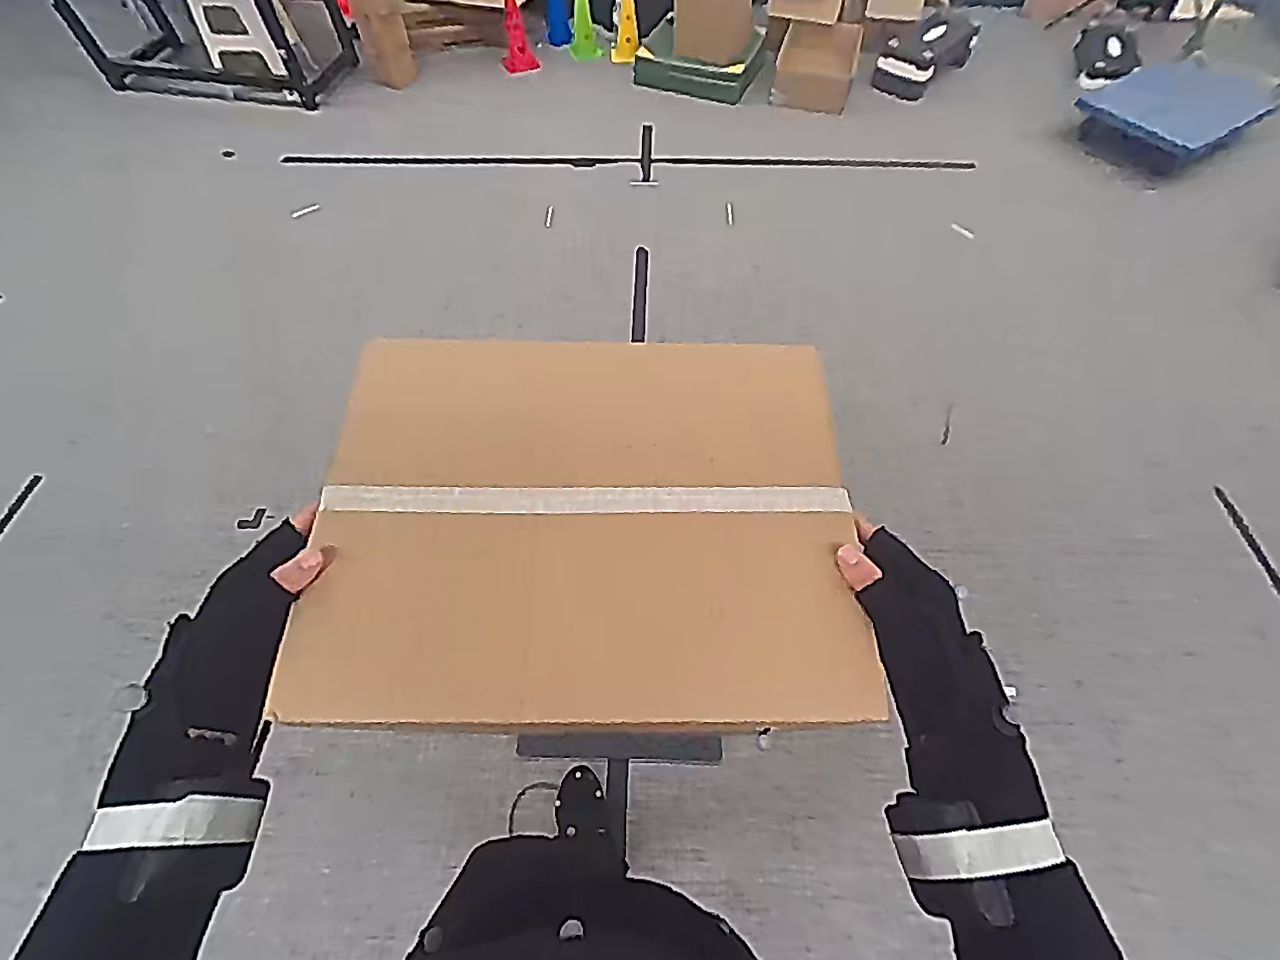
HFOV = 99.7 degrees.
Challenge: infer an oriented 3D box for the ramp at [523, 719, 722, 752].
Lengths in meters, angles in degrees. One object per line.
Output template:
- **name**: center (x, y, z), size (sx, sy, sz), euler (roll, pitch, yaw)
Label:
- **ramp**: center (-0.032, 0.188, 1.481), size (0.509, 0.206, 0.991), euler (0, 59, -1)

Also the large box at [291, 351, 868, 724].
- **large box**: center (-0.042, 0.084, 0.566), size (0.408, 0.320, 0.320), euler (0, 64, -1)
